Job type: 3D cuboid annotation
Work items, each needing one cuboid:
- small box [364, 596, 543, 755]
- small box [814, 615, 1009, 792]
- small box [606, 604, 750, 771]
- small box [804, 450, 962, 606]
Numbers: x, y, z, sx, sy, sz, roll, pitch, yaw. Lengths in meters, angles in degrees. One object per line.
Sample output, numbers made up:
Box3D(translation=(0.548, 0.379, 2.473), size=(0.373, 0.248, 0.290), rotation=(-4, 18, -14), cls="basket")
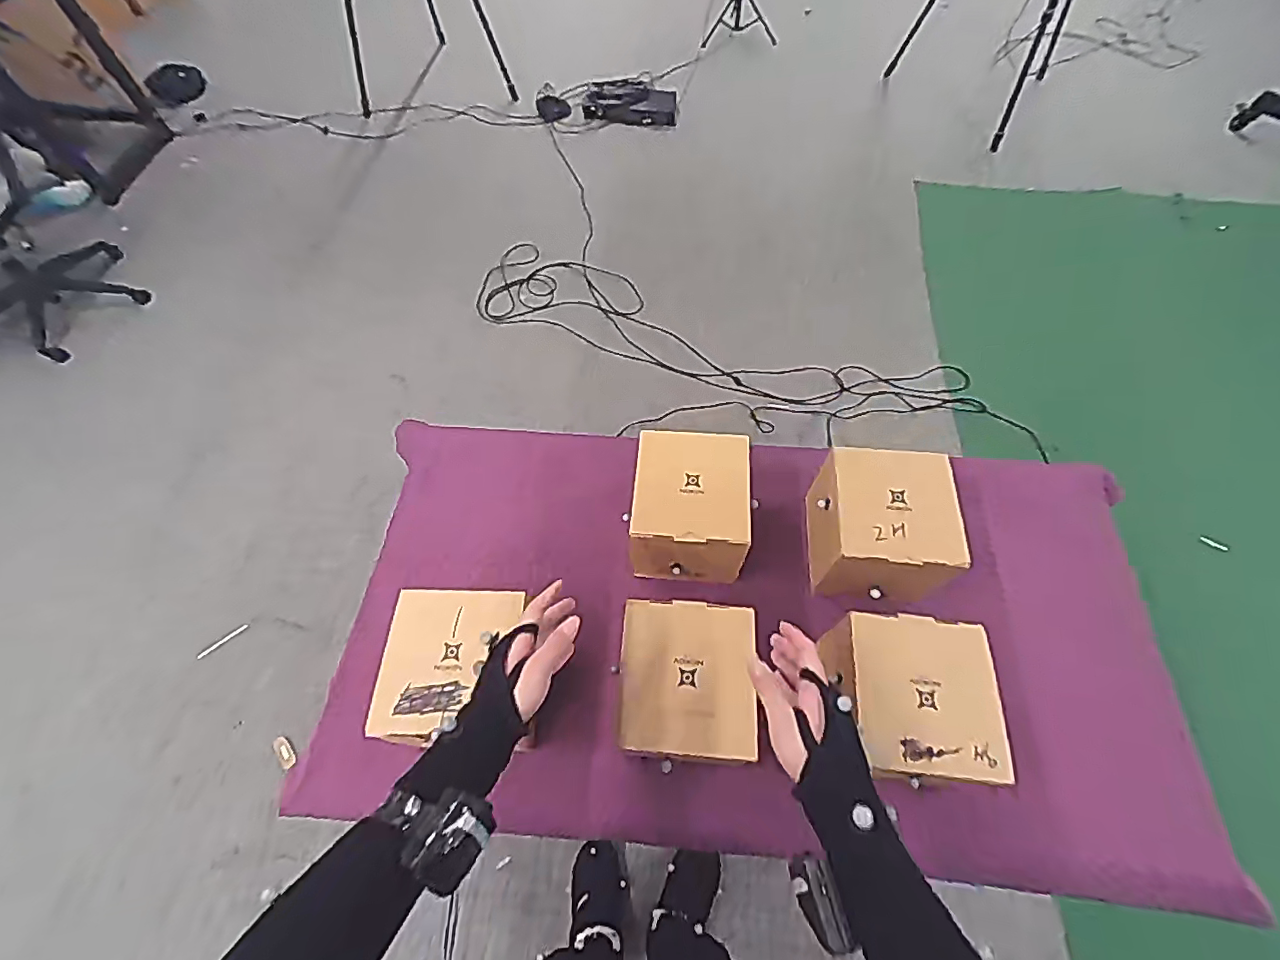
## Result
Box3D(translation=(-0.234, 0.269, 0.731), size=(0.168, 0.176, 0.179), rotation=(1, 59, 2), cls="small box")
Box3D(translation=(0.328, 0.292, 0.697), size=(0.168, 0.176, 0.179), rotation=(5, 60, 5), cls="small box")
Box3D(translation=(0.053, 0.279, 0.718), size=(0.168, 0.176, 0.179), rotation=(3, 61, 5), cls="small box")
Box3D(translation=(0.350, 0.076, 0.818), size=(0.168, 0.176, 0.179), rotation=(4, 62, 5), cls="small box")
